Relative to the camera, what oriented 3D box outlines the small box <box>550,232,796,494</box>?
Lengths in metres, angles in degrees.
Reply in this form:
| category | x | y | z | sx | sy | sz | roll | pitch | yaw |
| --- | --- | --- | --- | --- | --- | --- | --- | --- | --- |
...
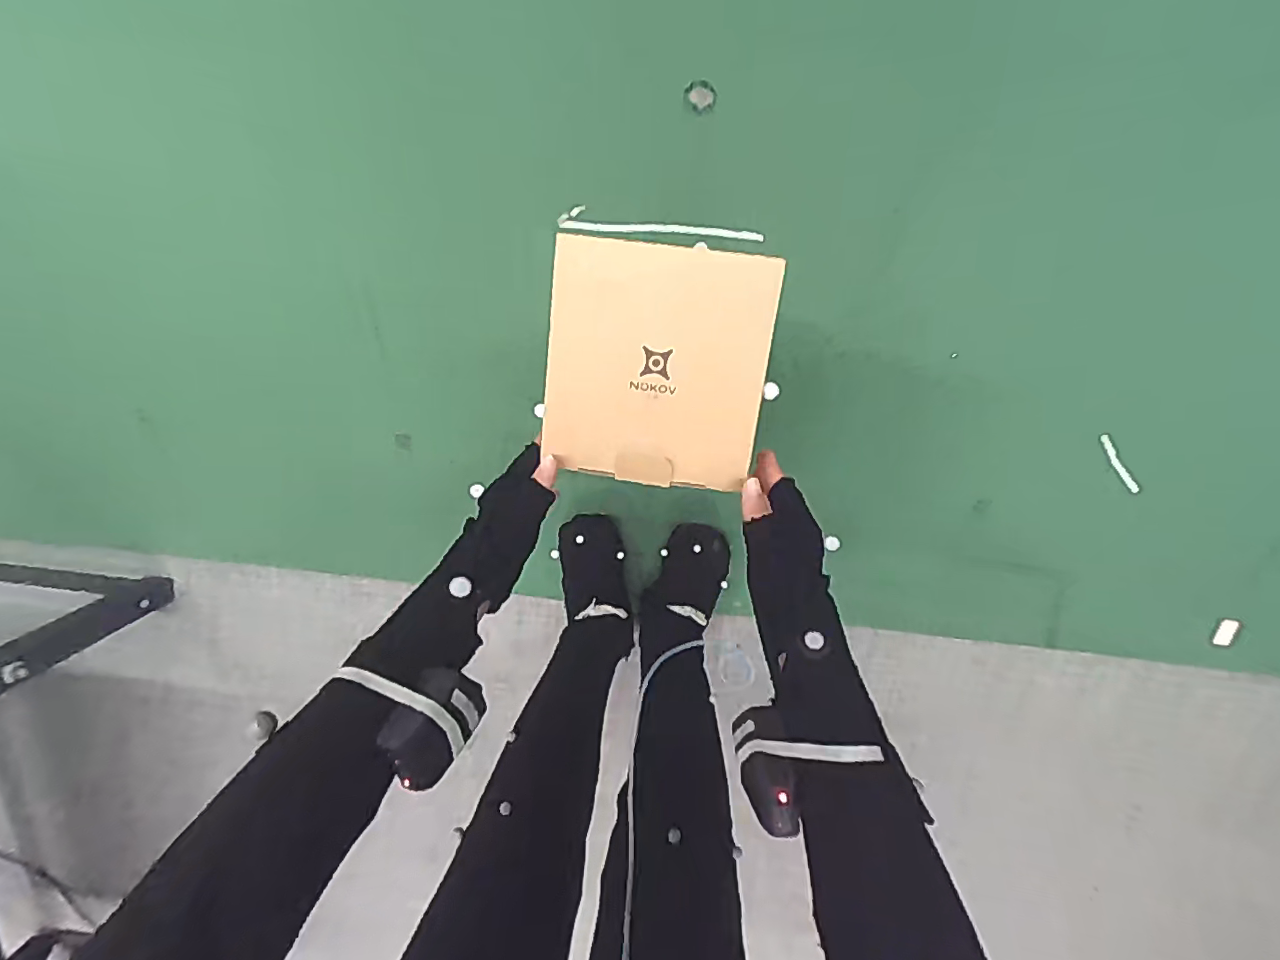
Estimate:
| category | x | y | z | sx | sy | sz | roll | pitch | yaw |
| --- | --- | --- | --- | --- | --- | --- | --- | --- | --- |
| small box | 0.025 | -0.104 | 0.481 | 0.168 | 0.176 | 0.179 | 8 | 107 | 2 |
